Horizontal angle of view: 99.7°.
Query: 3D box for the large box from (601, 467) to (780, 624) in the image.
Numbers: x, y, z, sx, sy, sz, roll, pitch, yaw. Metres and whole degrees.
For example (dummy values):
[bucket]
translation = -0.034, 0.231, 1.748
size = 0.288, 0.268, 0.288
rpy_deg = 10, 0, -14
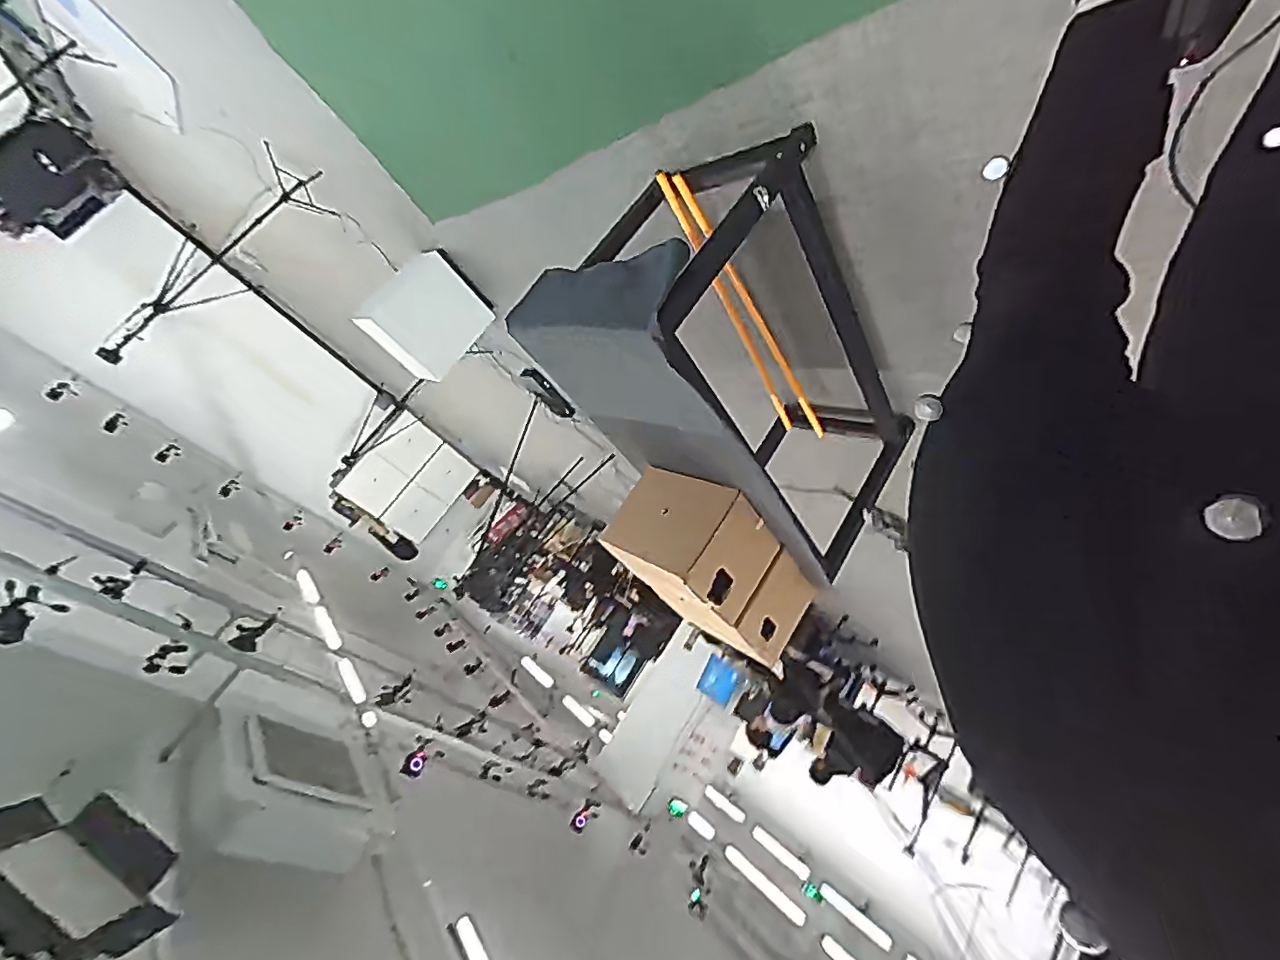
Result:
[large box]
translation = 0.157, 0.190, 1.713
size = 0.408, 0.320, 0.320
rpy_deg = 15, 155, 49
